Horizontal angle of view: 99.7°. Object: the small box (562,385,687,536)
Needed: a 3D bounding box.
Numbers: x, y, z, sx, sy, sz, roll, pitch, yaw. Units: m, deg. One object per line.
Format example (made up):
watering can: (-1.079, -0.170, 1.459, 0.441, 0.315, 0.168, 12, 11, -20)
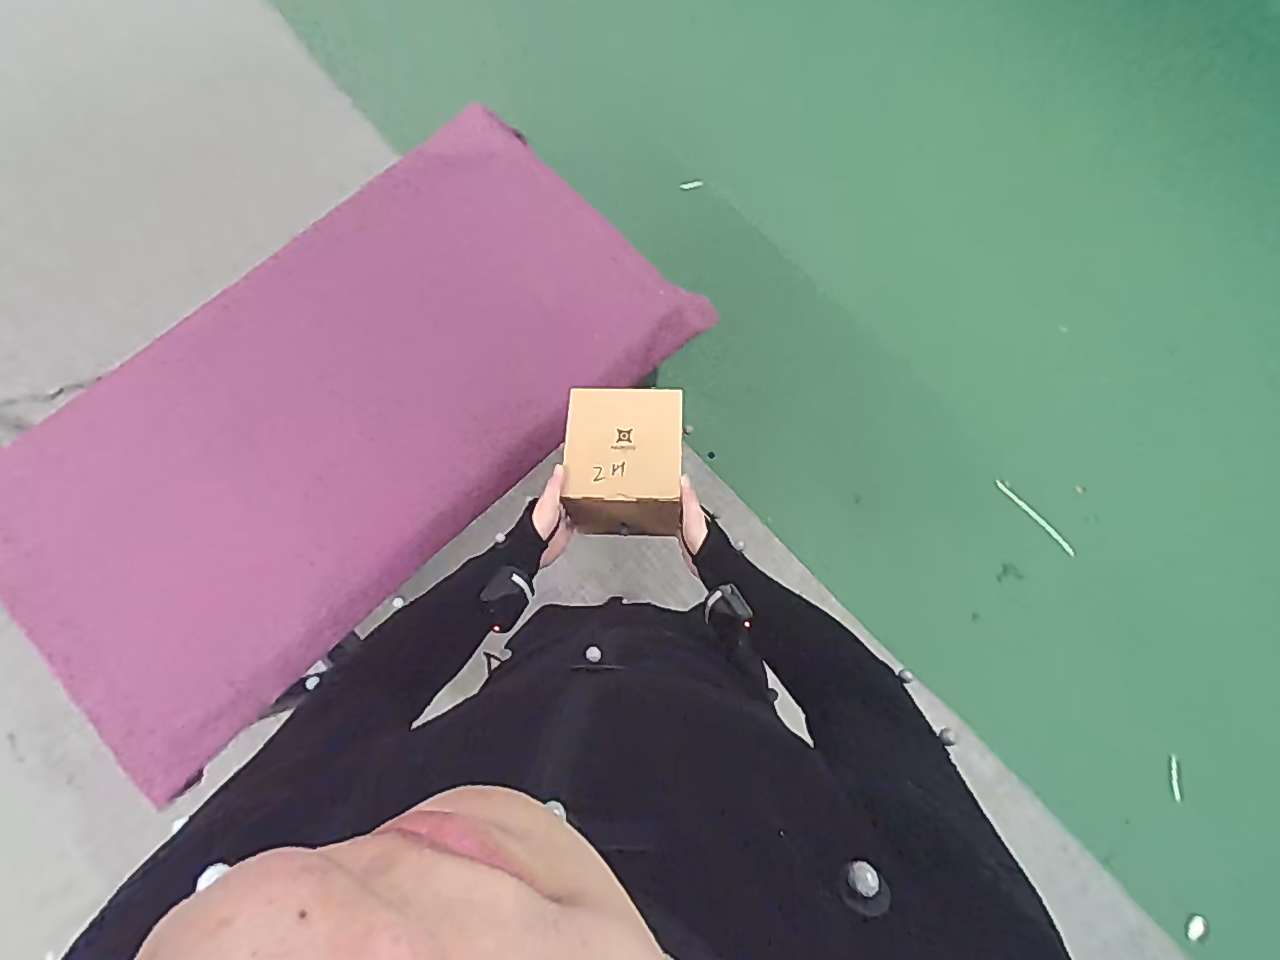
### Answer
small box: (-0.017, -0.025, 0.829, 0.168, 0.176, 0.179, 2, 67, 3)
